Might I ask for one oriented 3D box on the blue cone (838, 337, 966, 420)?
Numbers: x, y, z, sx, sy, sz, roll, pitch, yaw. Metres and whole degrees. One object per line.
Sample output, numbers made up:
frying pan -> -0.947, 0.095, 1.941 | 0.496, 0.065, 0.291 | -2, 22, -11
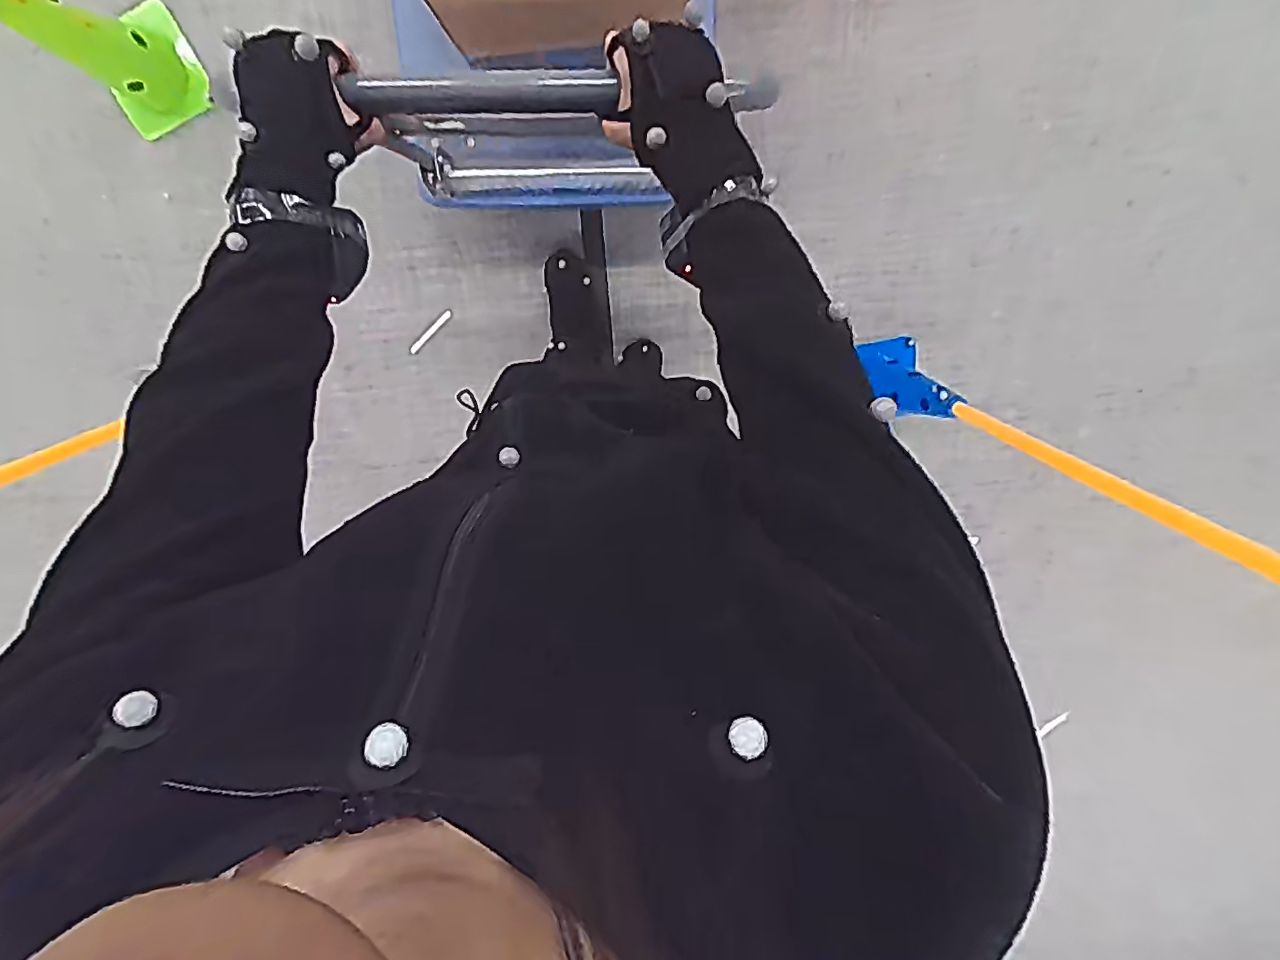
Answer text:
blue cone -> 0.605, -0.204, 1.213 | 0.193, 0.380, 0.192 | -9, 108, 1
